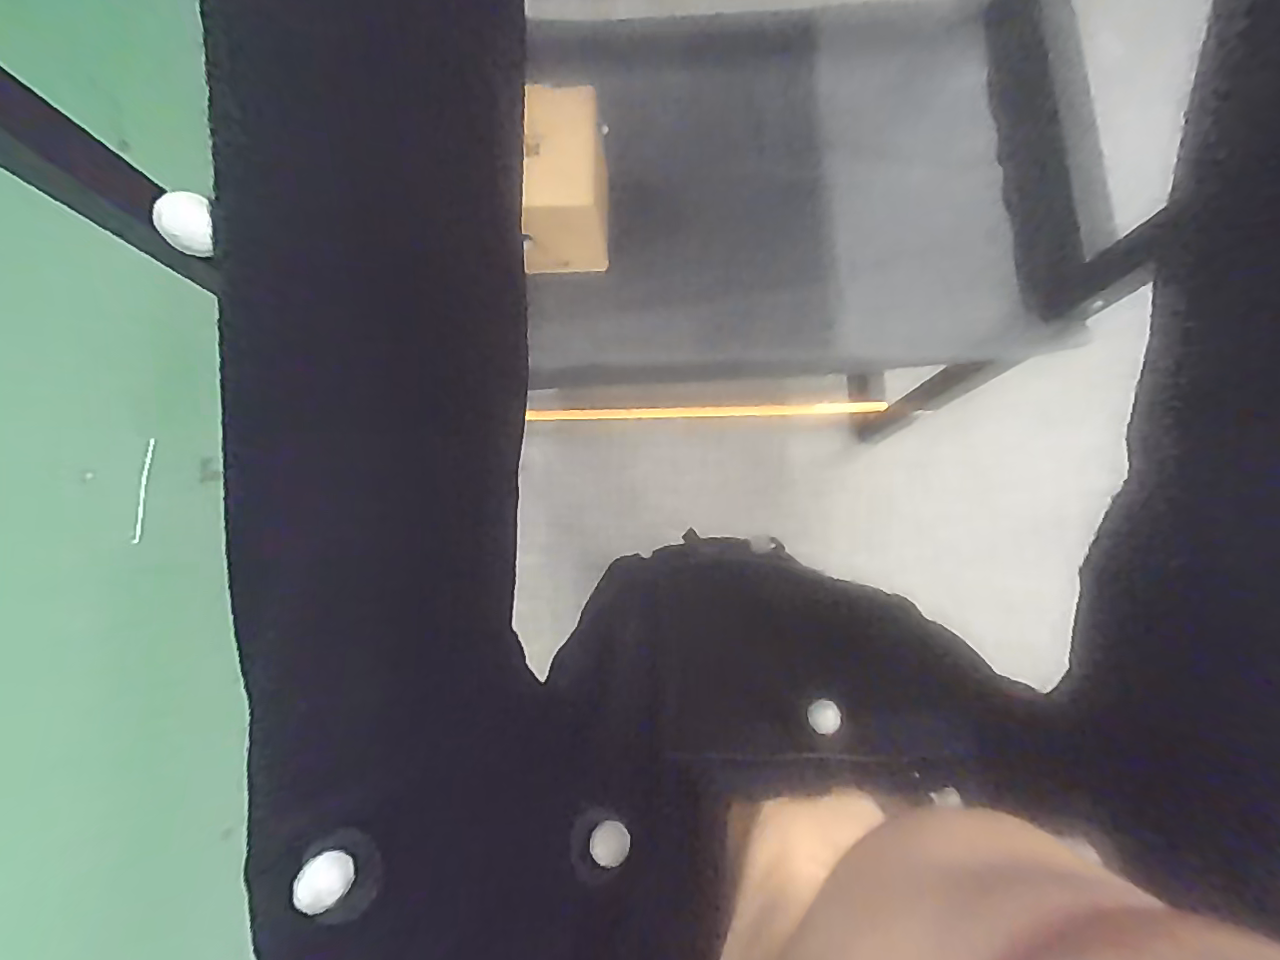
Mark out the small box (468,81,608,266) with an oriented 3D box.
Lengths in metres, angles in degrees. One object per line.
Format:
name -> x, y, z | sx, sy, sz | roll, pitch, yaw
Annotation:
small box -> -0.136, -0.427, 0.782 | 0.168, 0.176, 0.179 | -1, 80, 2
